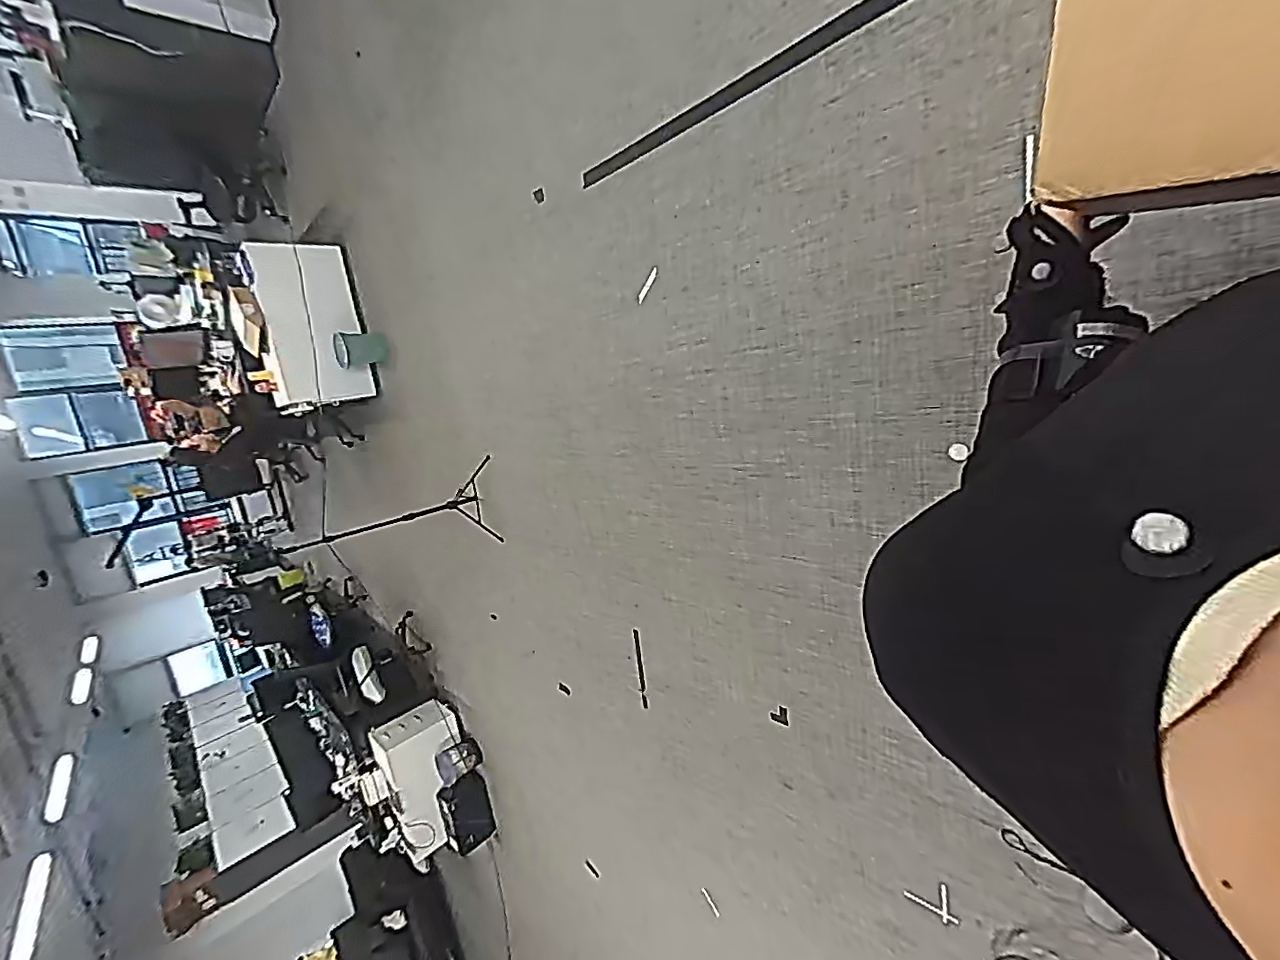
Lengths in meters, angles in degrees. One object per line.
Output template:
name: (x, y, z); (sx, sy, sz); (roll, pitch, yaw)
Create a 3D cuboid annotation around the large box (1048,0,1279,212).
large box: (0.426, -0.304, 0.193); (0.408, 0.320, 0.320); (11, 116, 40)
